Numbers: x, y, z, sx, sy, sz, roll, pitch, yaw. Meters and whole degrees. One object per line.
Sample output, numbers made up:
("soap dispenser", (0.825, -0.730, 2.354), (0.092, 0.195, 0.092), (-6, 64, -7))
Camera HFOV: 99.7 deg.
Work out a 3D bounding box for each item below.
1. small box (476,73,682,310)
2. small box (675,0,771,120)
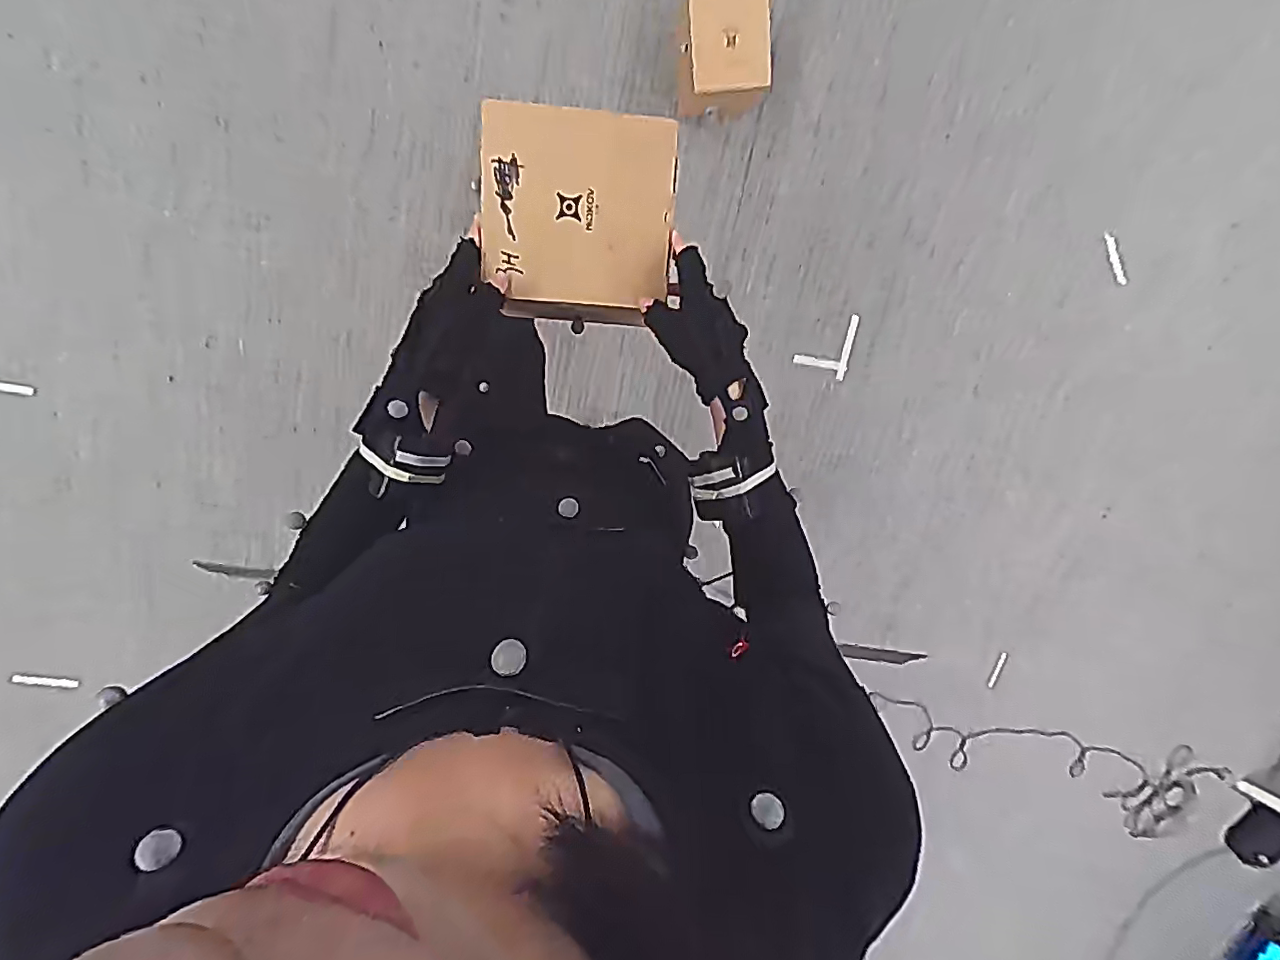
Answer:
("small box", (-0.064, -0.273, 0.557), (0.179, 0.176, 0.168), (3, 100, -6))
("small box", (0.175, -0.911, 1.169), (0.168, 0.176, 0.179), (-8, 108, -4))
